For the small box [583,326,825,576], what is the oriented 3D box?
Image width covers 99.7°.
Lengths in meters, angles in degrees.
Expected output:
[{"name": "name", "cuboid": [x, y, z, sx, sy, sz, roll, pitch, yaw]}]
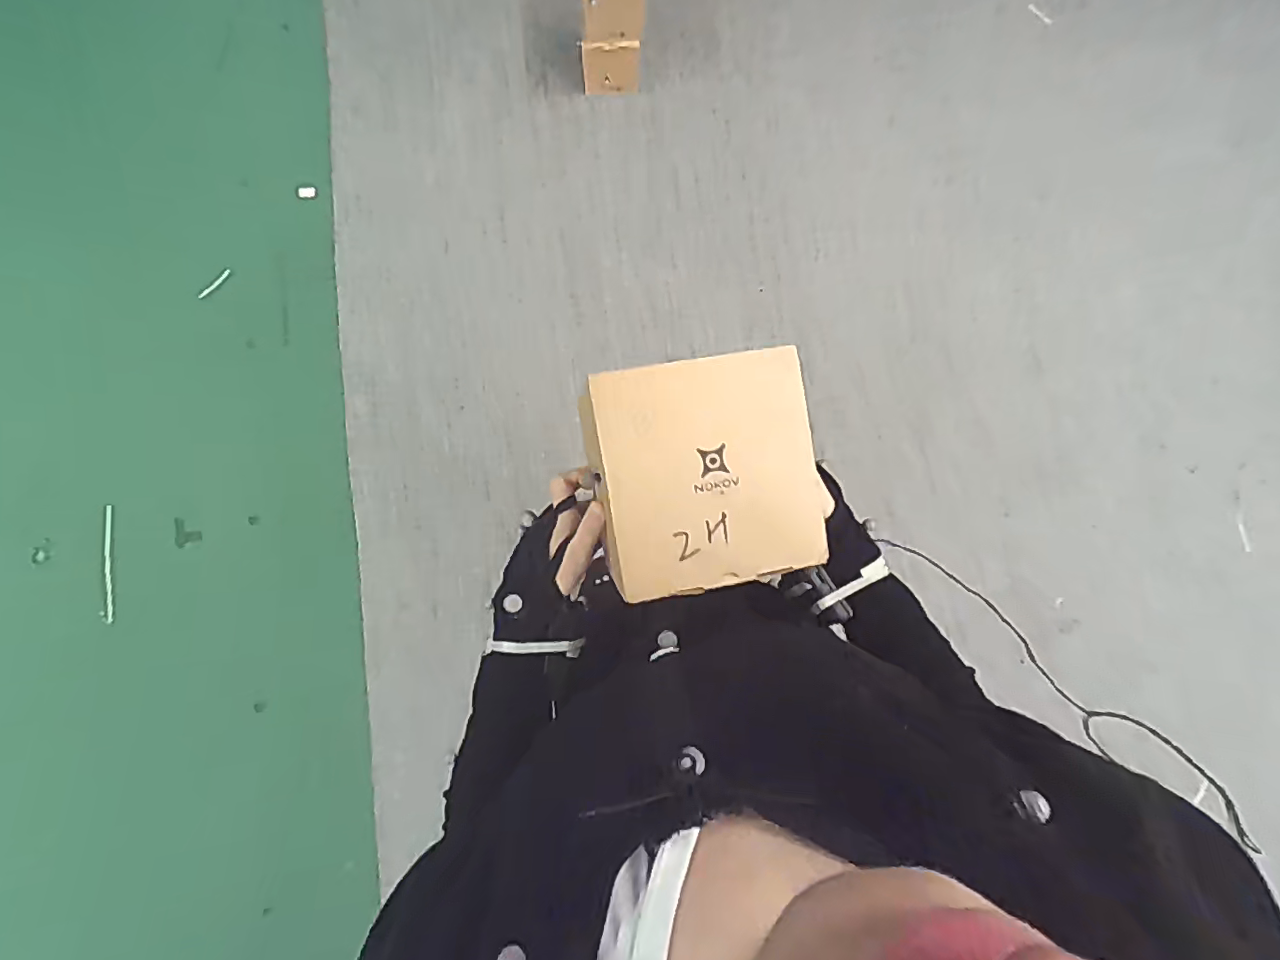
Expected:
[{"name": "small box", "cuboid": [0.043, -0.025, 0.493, 0.168, 0.176, 0.179, -9, 92, -8]}]

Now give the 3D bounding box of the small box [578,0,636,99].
[{"name": "small box", "cuboid": [-0.099, -1.283, 1.611, 0.168, 0.176, 0.179, -2, 83, -3]}]
